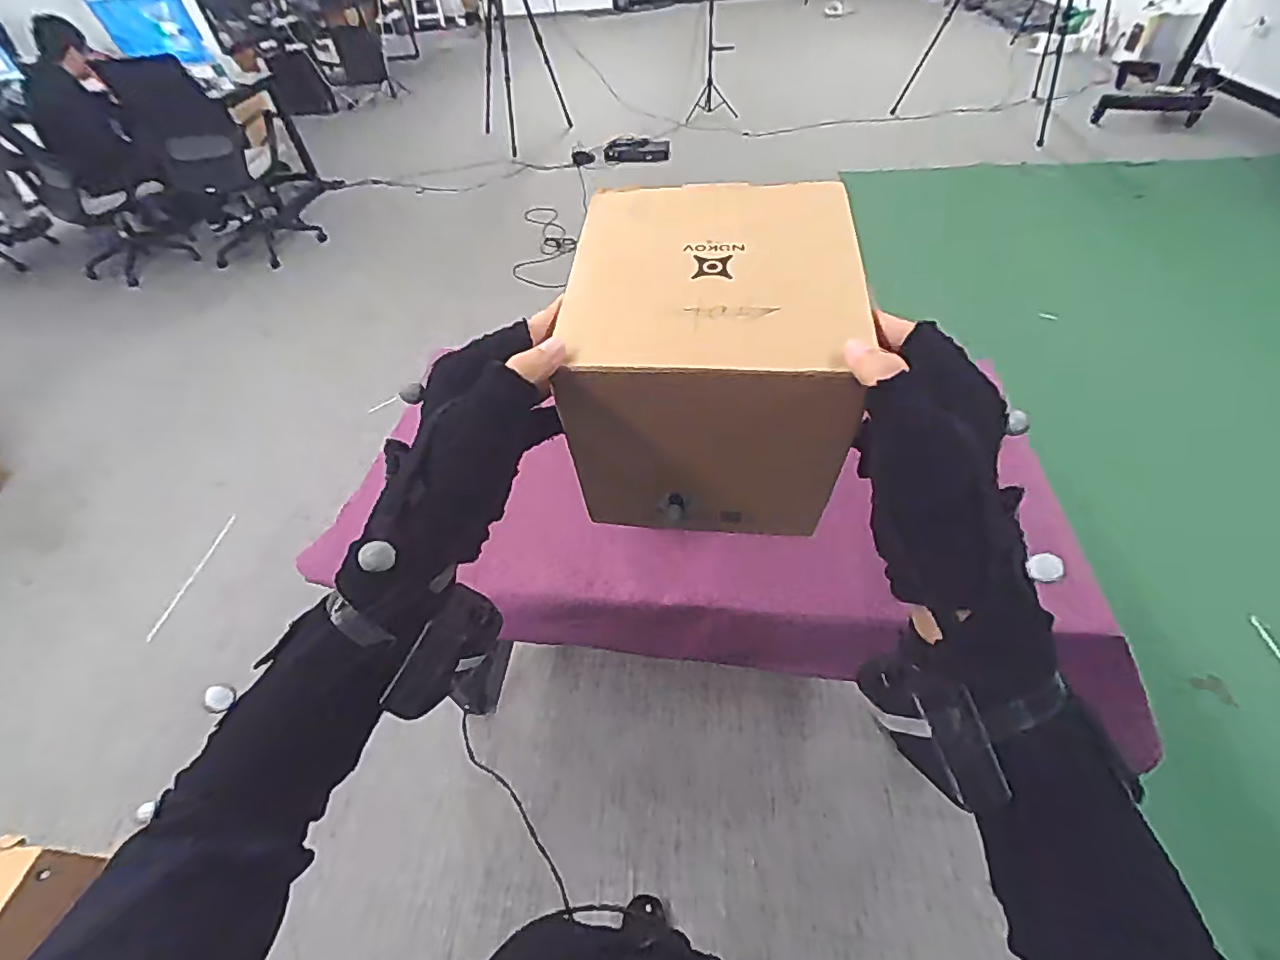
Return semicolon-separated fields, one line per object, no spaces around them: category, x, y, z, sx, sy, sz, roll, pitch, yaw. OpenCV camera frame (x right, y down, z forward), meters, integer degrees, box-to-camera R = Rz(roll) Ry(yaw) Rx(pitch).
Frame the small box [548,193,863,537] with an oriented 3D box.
small box;0.045;-0.079;0.389;0.168;0.176;0.179;3;56;7

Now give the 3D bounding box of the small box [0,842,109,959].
small box;-1.202;0.812;1.035;0.168;0.176;0.179;1;48;6
